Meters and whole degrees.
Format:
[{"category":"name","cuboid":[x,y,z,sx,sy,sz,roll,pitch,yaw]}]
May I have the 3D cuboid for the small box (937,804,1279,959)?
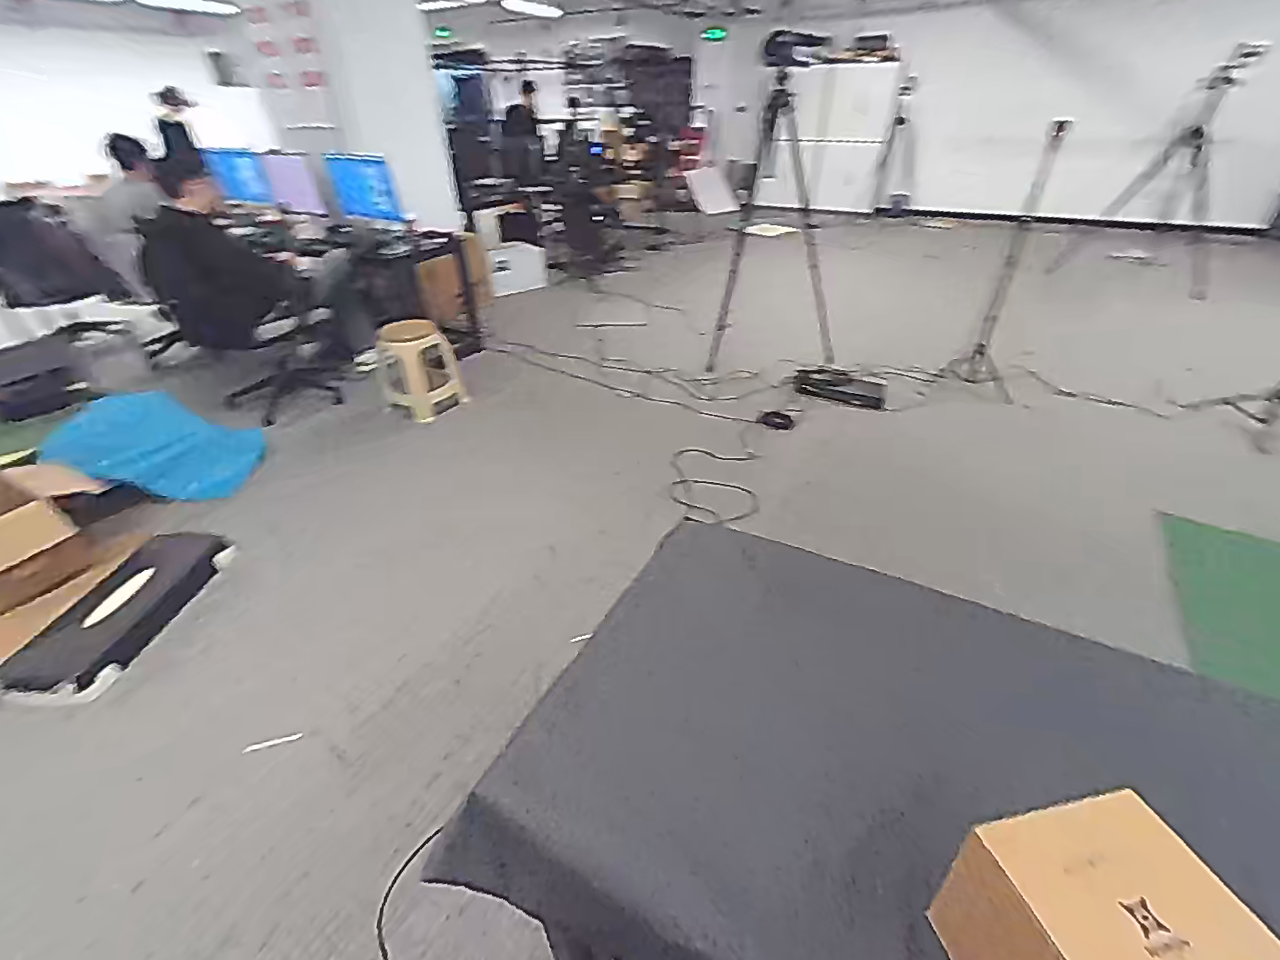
[{"category":"small box","cuboid":[0.380,0.406,0.434,0.168,0.176,0.179,-5,29,-8]}]
